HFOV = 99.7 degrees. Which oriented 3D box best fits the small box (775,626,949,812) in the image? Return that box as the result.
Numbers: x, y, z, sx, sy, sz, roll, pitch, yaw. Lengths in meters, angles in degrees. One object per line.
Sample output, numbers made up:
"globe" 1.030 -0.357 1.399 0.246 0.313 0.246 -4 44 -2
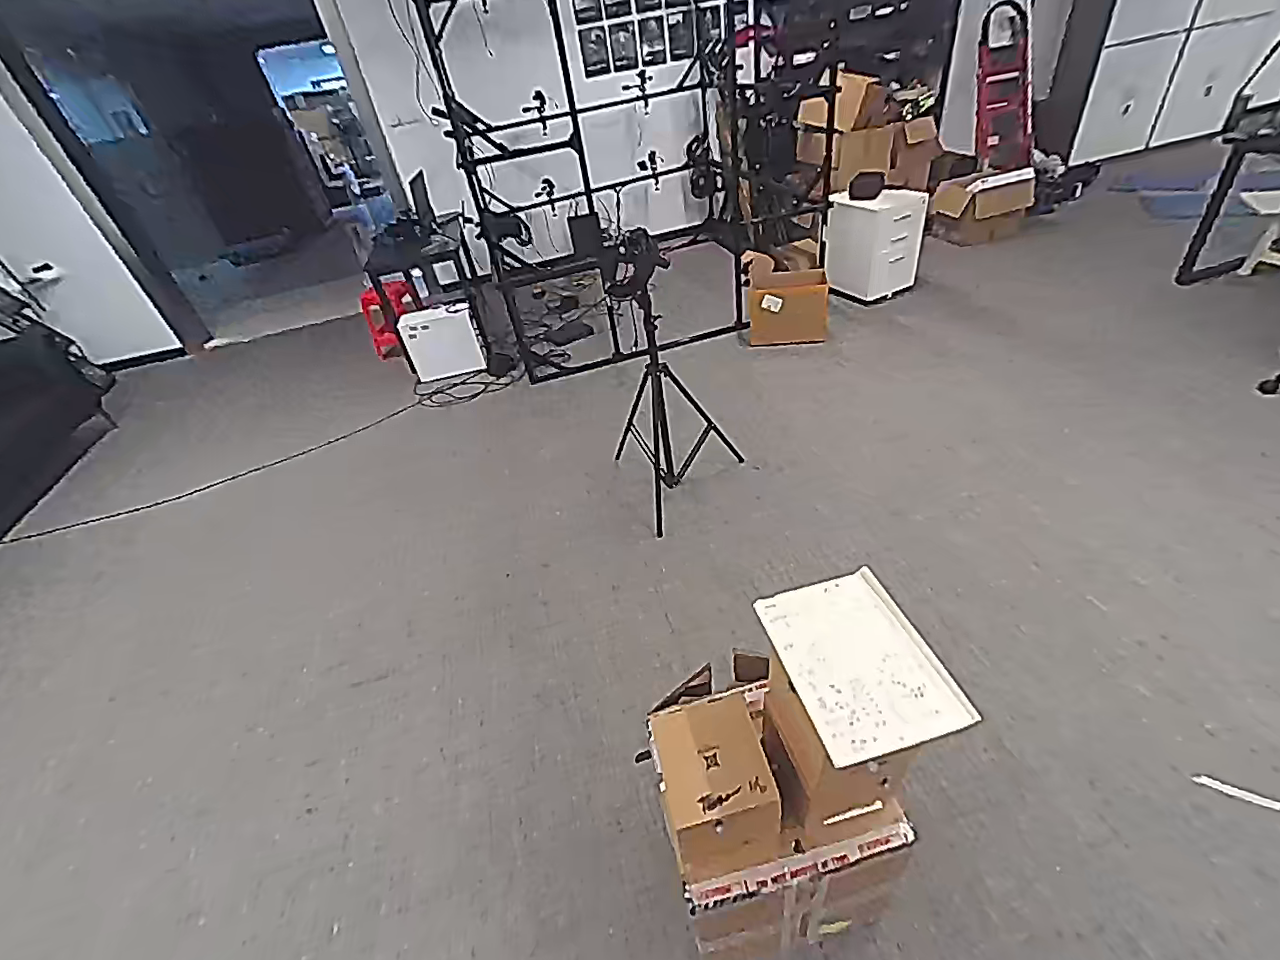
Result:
"small box" 0.312 0.353 0.806 0.168 0.176 0.179 -13 40 -7
